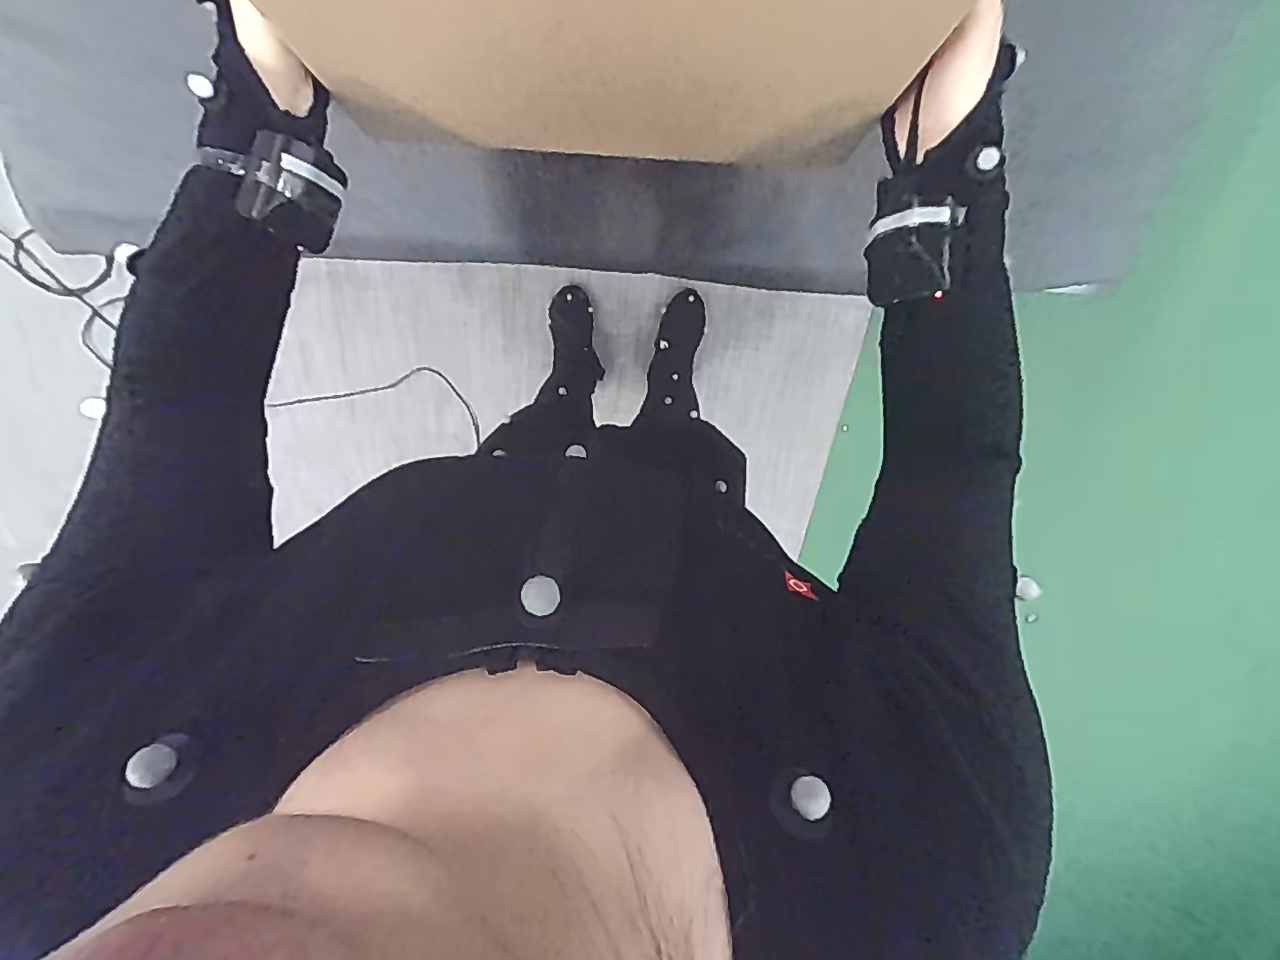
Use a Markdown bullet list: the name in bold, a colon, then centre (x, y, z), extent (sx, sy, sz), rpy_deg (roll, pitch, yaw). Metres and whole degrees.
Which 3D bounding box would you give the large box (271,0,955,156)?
- **large box**: centre (-0.016, -0.422, 0.307), extent (0.408, 0.320, 0.320), rpy_deg (2, 96, -2)
